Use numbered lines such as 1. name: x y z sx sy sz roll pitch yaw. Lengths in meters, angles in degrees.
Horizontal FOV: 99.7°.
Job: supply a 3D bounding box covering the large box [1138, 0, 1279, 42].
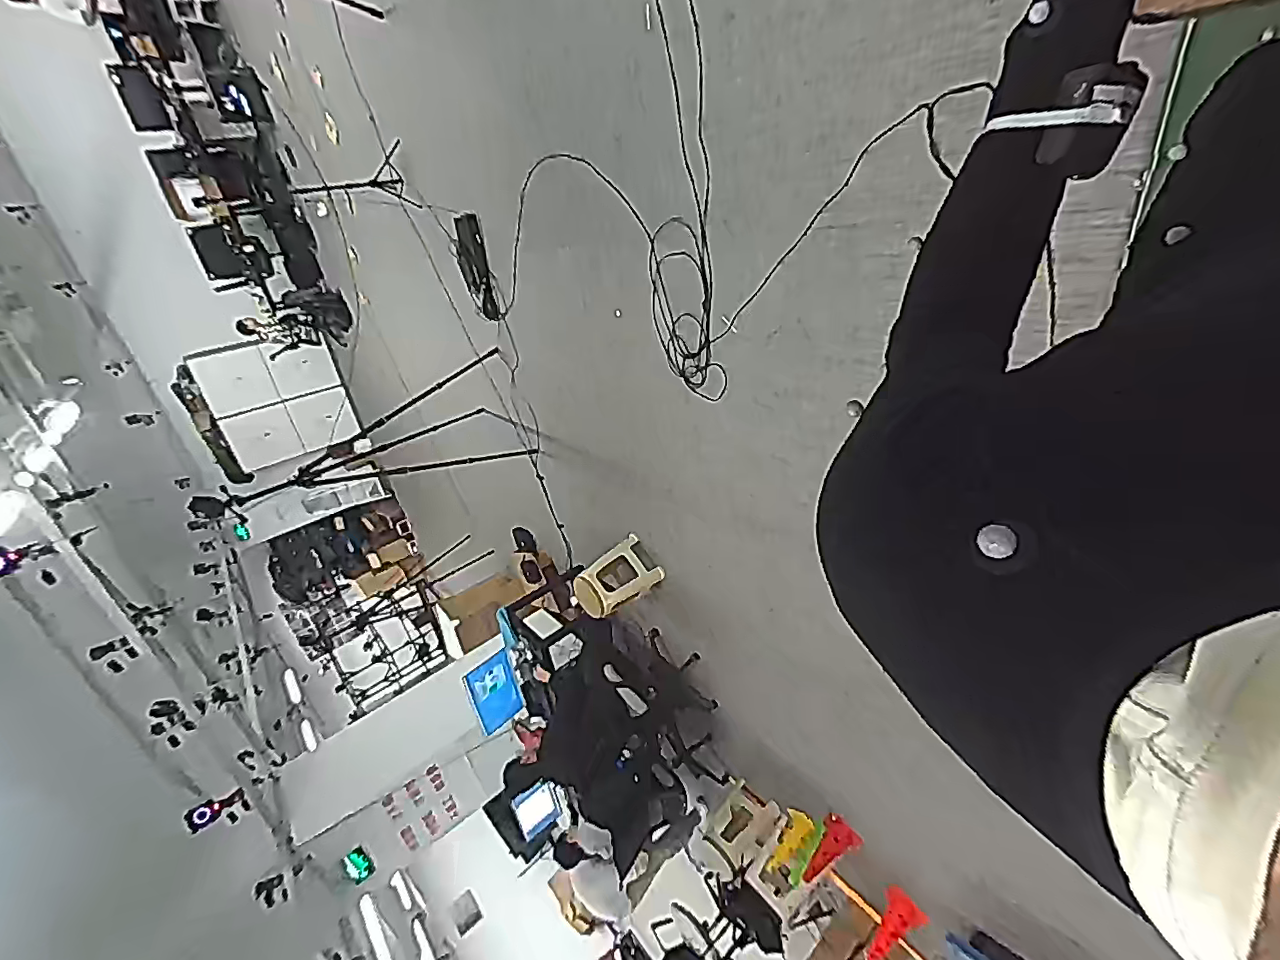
1. large box: 0.563 -0.465 0.259 0.408 0.320 0.320 19 132 44
